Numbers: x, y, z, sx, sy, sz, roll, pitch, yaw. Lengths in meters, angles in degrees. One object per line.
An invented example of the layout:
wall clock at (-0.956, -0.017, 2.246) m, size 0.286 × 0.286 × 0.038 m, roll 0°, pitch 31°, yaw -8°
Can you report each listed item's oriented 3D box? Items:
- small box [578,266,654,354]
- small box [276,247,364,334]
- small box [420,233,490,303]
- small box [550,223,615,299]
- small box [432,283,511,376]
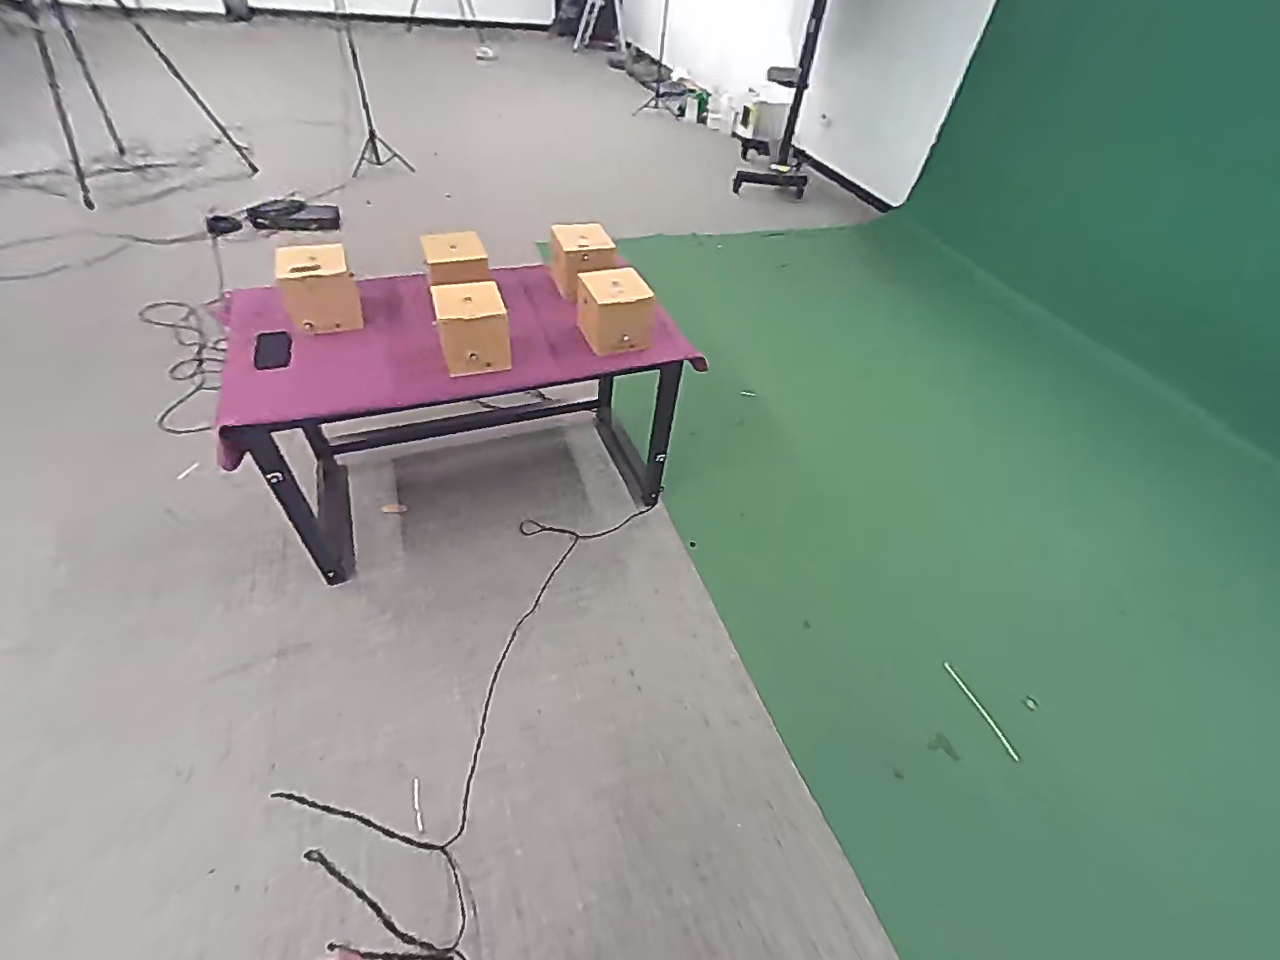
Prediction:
small box at (-0.075, -0.487, 1.546) m, size 0.168 × 0.176 × 0.179 m, roll -15°, pitch 52°, yaw -18°
small box at (-0.873, -0.515, 1.485) m, size 0.168 × 0.176 × 0.179 m, roll -14°, pitch 50°, yaw -19°
small box at (-0.548, -0.615, 1.617) m, size 0.168 × 0.176 × 0.179 m, roll -15°, pitch 52°, yaw -18°
small box at (-0.188, -0.703, 1.737) m, size 0.168 × 0.176 × 0.179 m, roll -13°, pitch 50°, yaw -17°
small box at (-0.443, -0.397, 1.428) m, size 0.168 × 0.176 × 0.179 m, roll -12°, pitch 50°, yaw -17°
